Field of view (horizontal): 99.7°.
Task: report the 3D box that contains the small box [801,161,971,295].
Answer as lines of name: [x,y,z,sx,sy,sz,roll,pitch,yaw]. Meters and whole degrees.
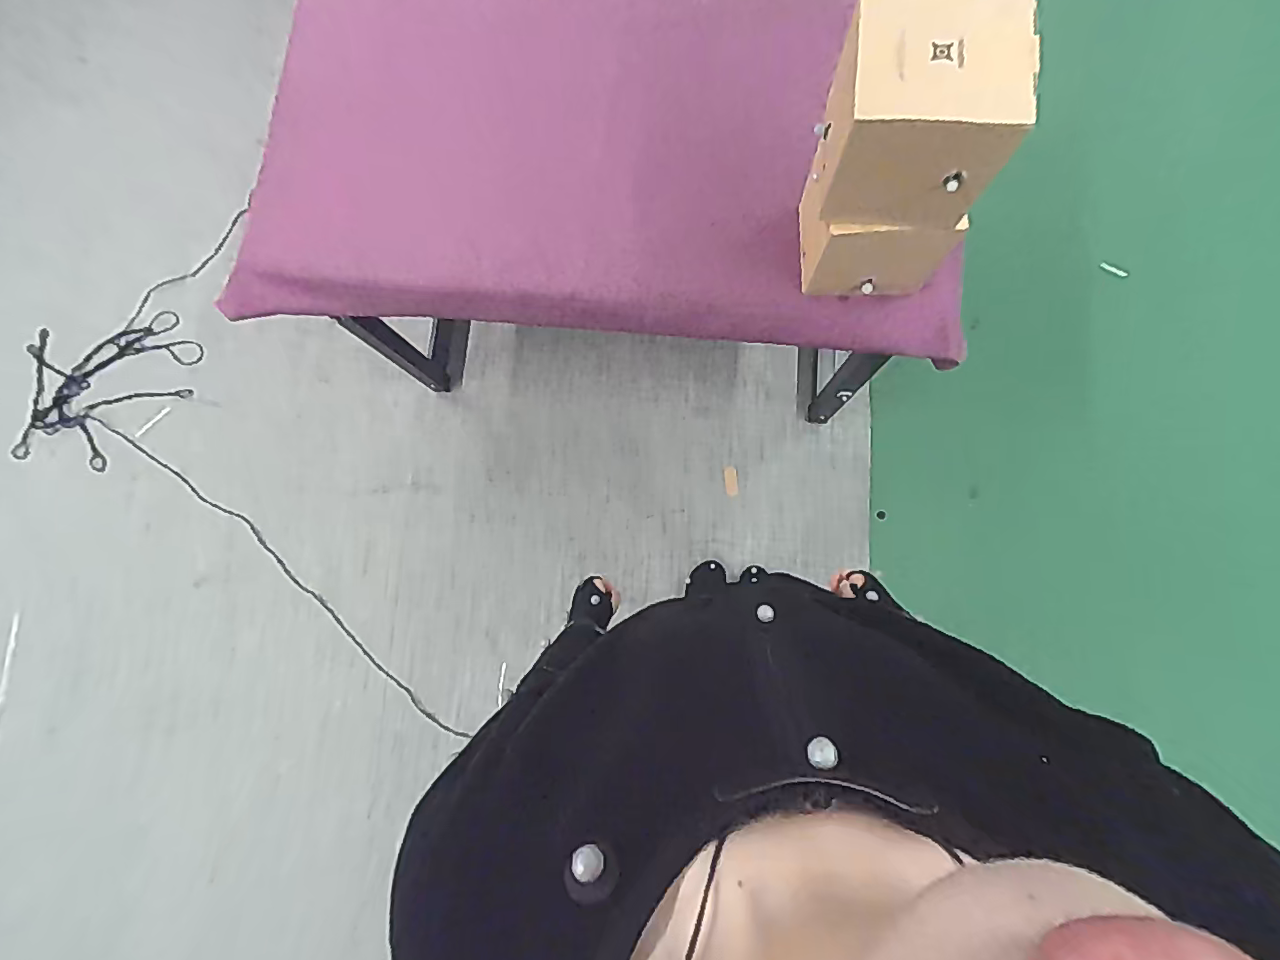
small box: [0.341,-0.383,0.780,0.179,0.176,0.168,1,81,5]

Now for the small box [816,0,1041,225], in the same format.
small box: [0.316,-0.418,0.621,0.179,0.176,0.168,6,81,7]
